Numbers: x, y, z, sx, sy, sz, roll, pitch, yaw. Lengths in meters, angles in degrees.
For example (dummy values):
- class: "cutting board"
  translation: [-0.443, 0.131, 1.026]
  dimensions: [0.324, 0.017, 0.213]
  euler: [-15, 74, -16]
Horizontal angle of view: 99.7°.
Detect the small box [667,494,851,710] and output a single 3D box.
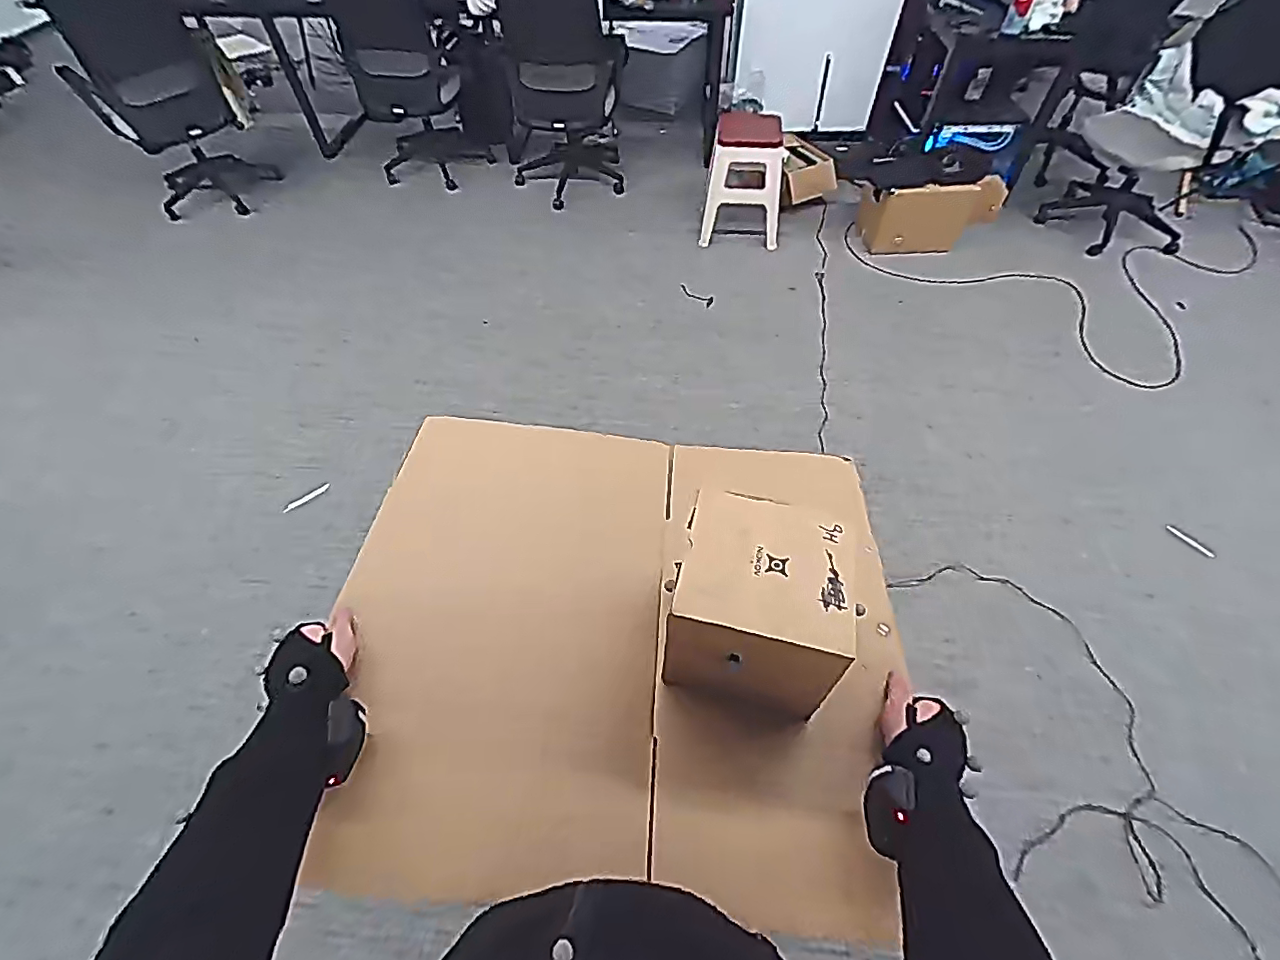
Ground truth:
- class: "small box"
  translation: [0.131, 0.142, 0.621]
  dimensions: [0.179, 0.176, 0.168]
  euler: [11, 50, 10]
